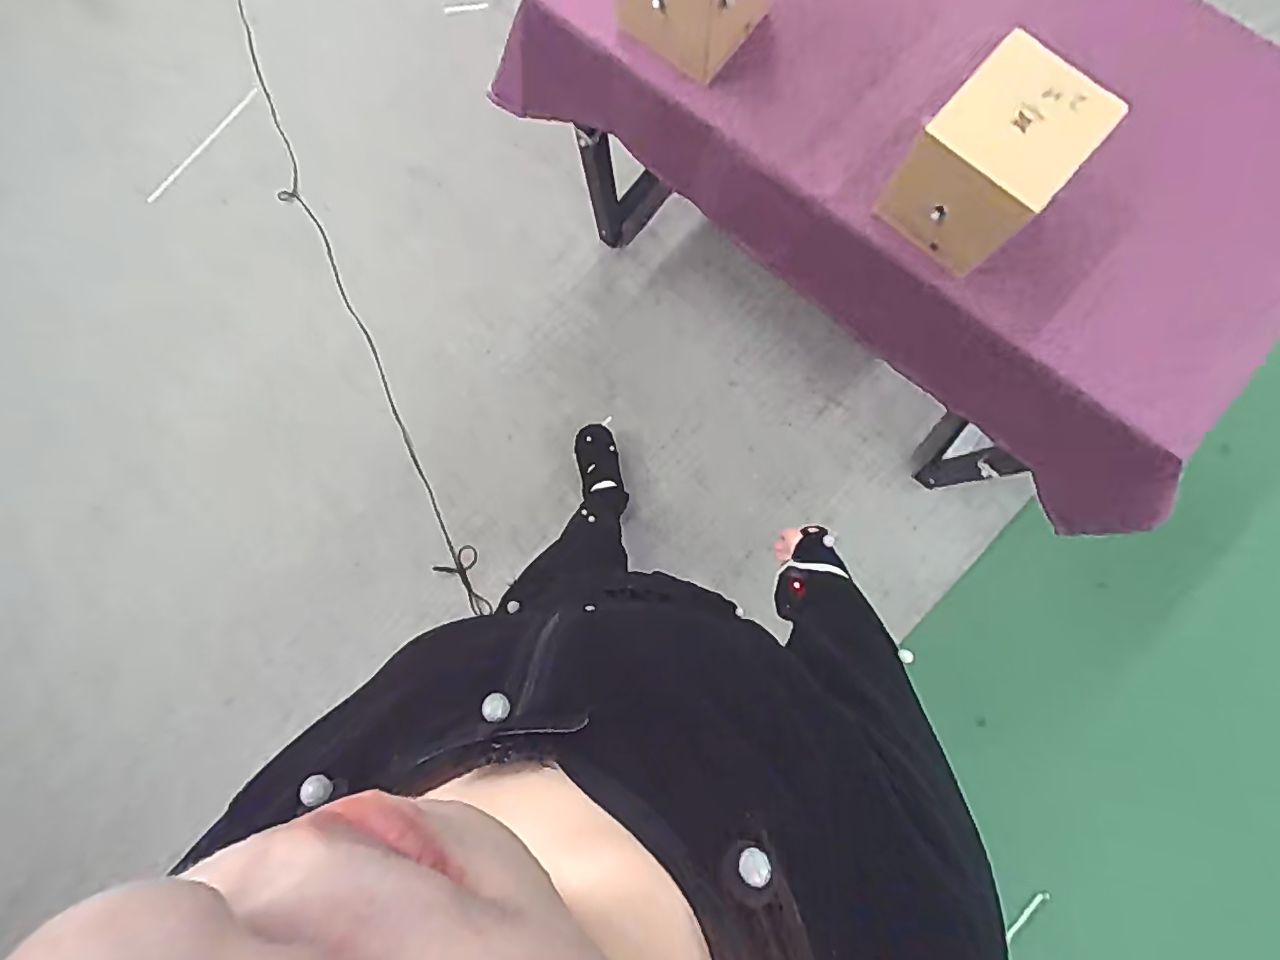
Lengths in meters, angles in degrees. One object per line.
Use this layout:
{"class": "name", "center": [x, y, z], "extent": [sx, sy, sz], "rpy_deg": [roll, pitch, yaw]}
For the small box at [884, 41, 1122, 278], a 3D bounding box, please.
{"class": "small box", "center": [0.460, -0.409, 0.724], "extent": [0.168, 0.176, 0.179], "rpy_deg": [43, 87, 5]}
